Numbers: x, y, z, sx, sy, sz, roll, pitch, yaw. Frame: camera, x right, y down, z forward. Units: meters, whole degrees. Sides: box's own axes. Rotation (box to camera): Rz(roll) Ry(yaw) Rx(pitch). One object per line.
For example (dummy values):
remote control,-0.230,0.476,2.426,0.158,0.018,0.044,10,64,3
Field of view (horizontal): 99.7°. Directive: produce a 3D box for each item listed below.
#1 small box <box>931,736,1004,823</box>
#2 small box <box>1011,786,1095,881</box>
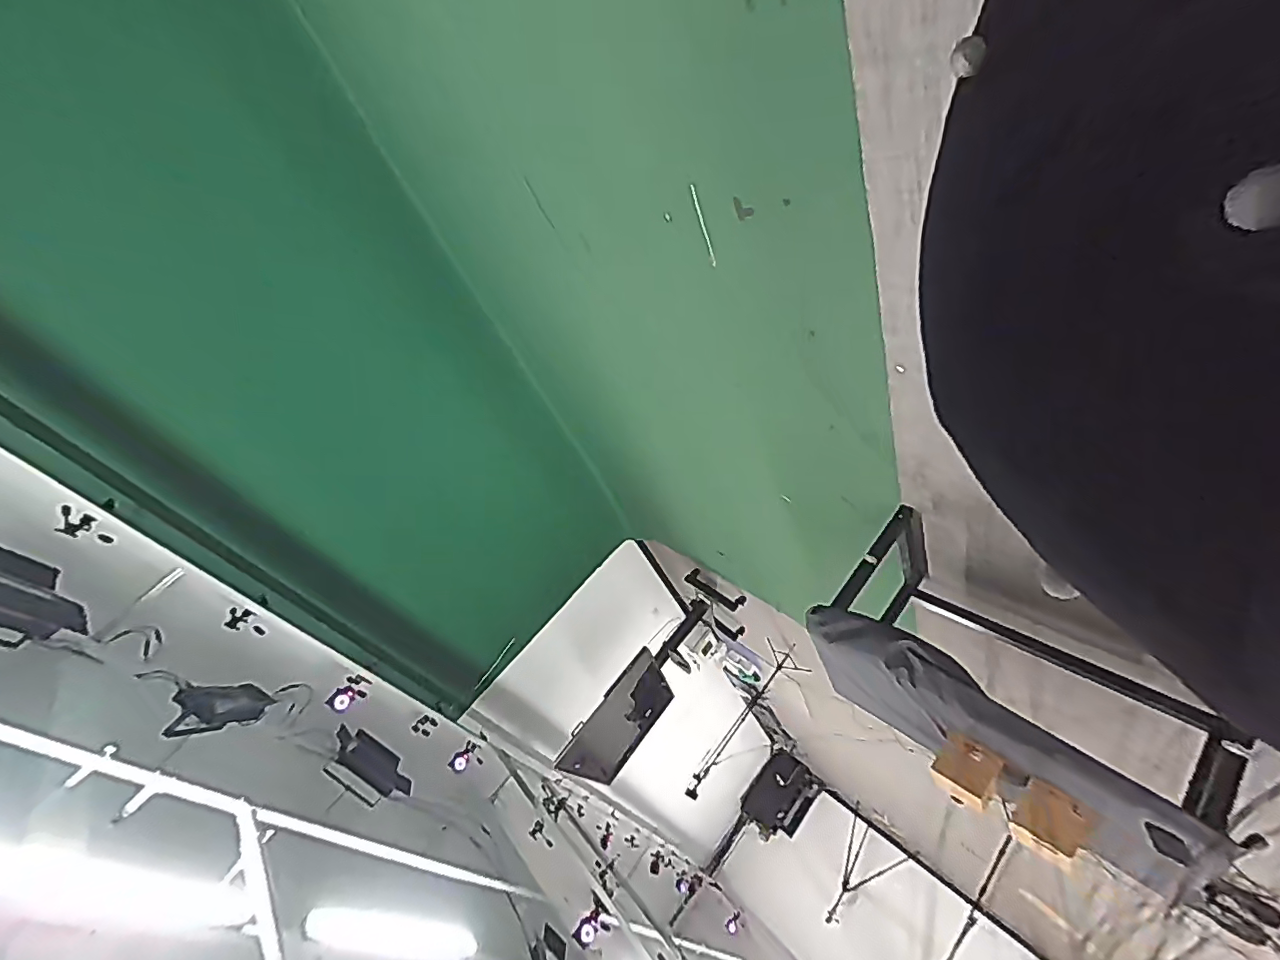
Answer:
small box,1.135,1.032,1.870,0.168,0.176,0.179,21,149,47
small box,1.290,1.100,1.692,0.168,0.176,0.179,23,153,46
